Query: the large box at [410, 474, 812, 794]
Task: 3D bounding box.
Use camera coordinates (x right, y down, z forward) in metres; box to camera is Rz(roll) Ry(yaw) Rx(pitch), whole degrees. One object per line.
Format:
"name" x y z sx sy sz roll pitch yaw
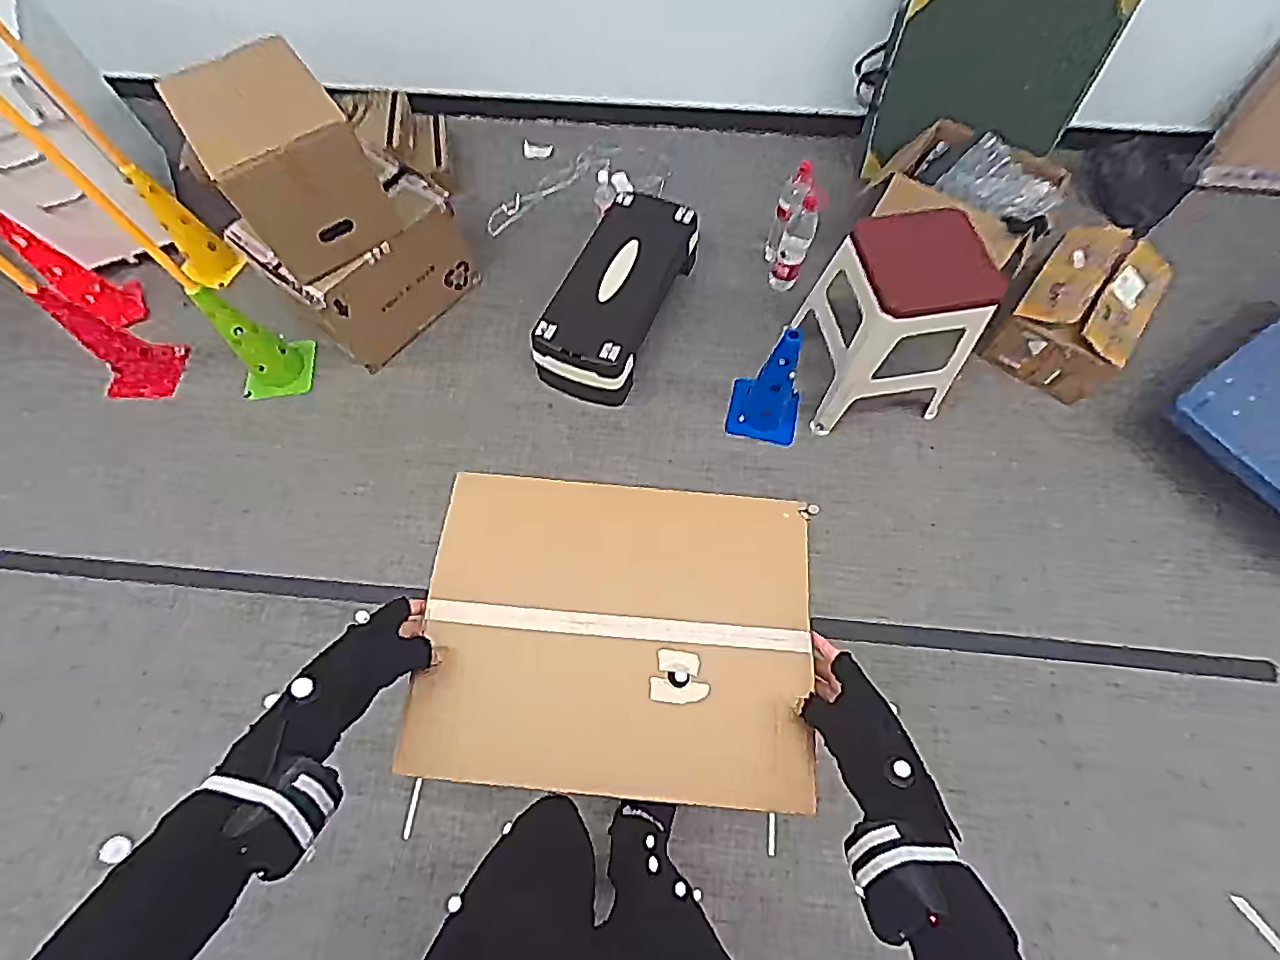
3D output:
"large box" -0.024 0.204 0.718 0.408 0.320 0.320 5 69 0
